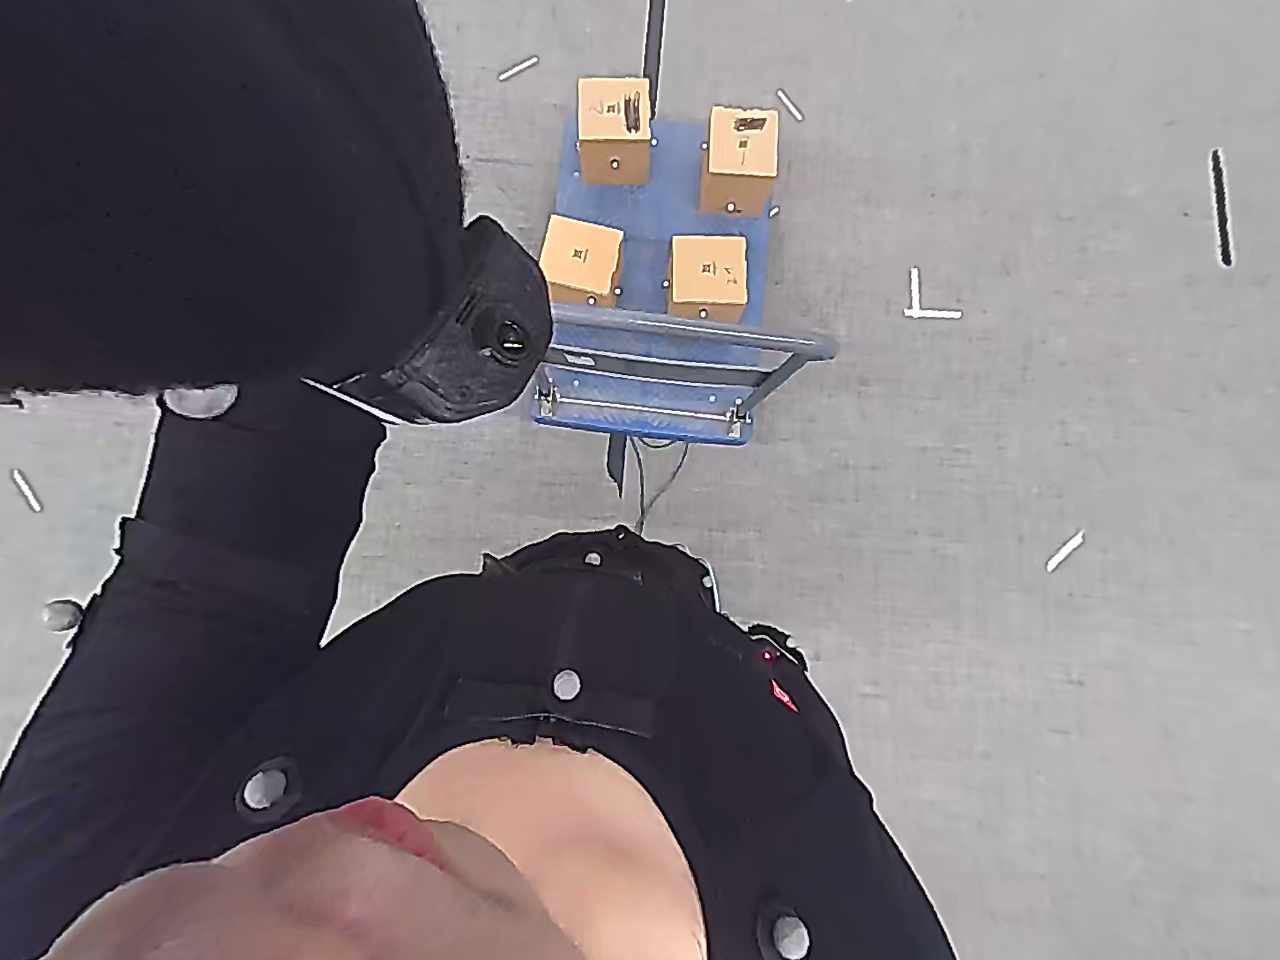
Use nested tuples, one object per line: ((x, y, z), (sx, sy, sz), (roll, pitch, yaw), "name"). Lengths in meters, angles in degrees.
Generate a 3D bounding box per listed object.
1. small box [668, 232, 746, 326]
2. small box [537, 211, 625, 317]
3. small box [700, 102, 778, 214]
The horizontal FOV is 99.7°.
((0.161, -0.493, 1.345), (0.179, 0.176, 0.168), (1, 83, -2), "small box")
((-0.141, -0.525, 1.339), (0.179, 0.176, 0.168), (12, 82, -2), "small box")
((0.249, -0.818, 1.385), (0.168, 0.176, 0.179), (3, 84, -1), "small box")
